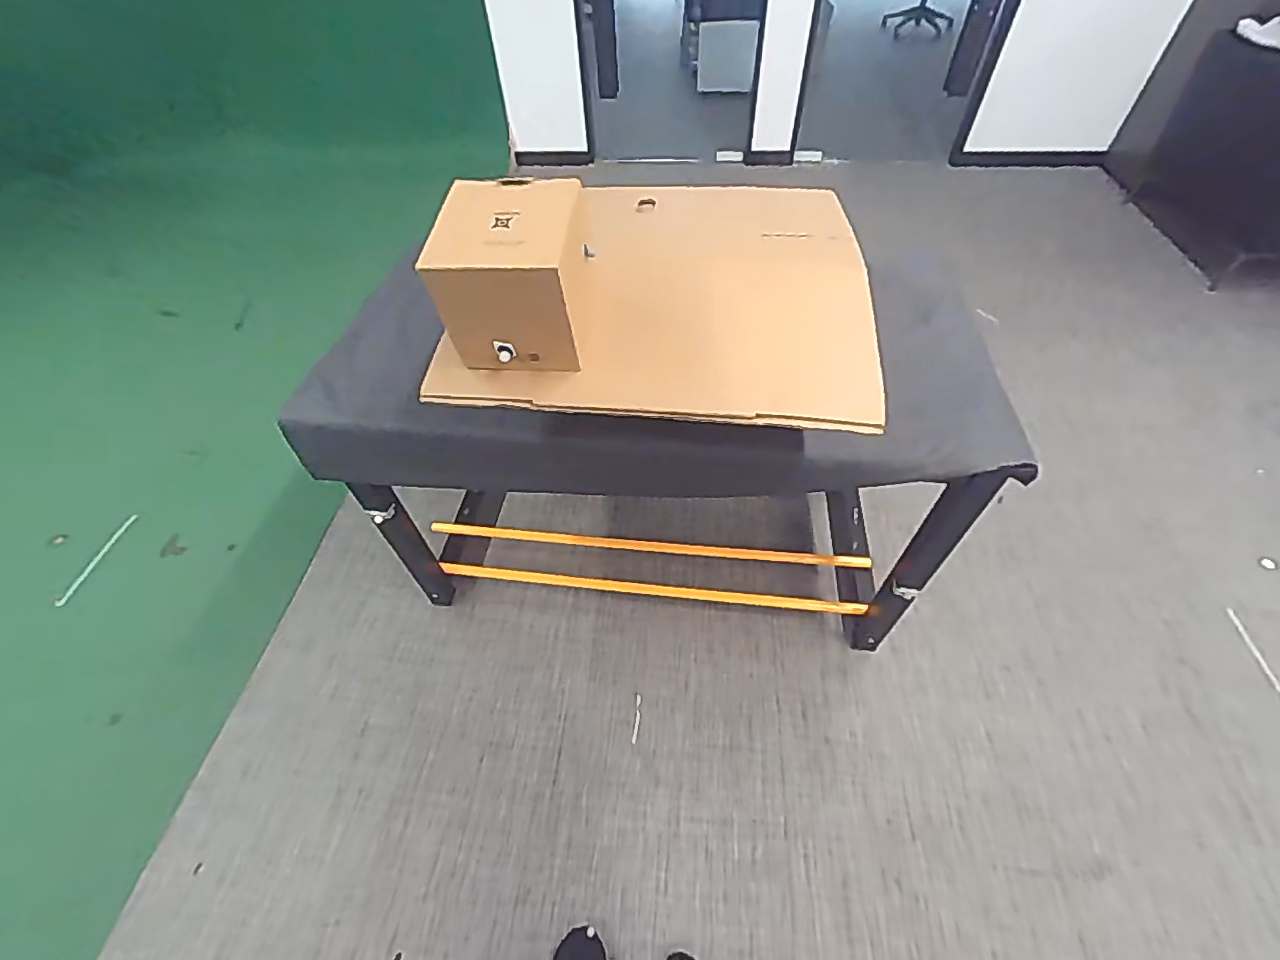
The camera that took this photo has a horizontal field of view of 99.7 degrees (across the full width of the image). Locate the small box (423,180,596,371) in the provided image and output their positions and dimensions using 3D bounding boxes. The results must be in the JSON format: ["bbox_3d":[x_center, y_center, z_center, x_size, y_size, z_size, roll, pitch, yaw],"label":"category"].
[{"bbox_3d":[-0.155,-0.266,0.714,0.168,0.176,0.179,1,59,5],"label":"small box"}]
